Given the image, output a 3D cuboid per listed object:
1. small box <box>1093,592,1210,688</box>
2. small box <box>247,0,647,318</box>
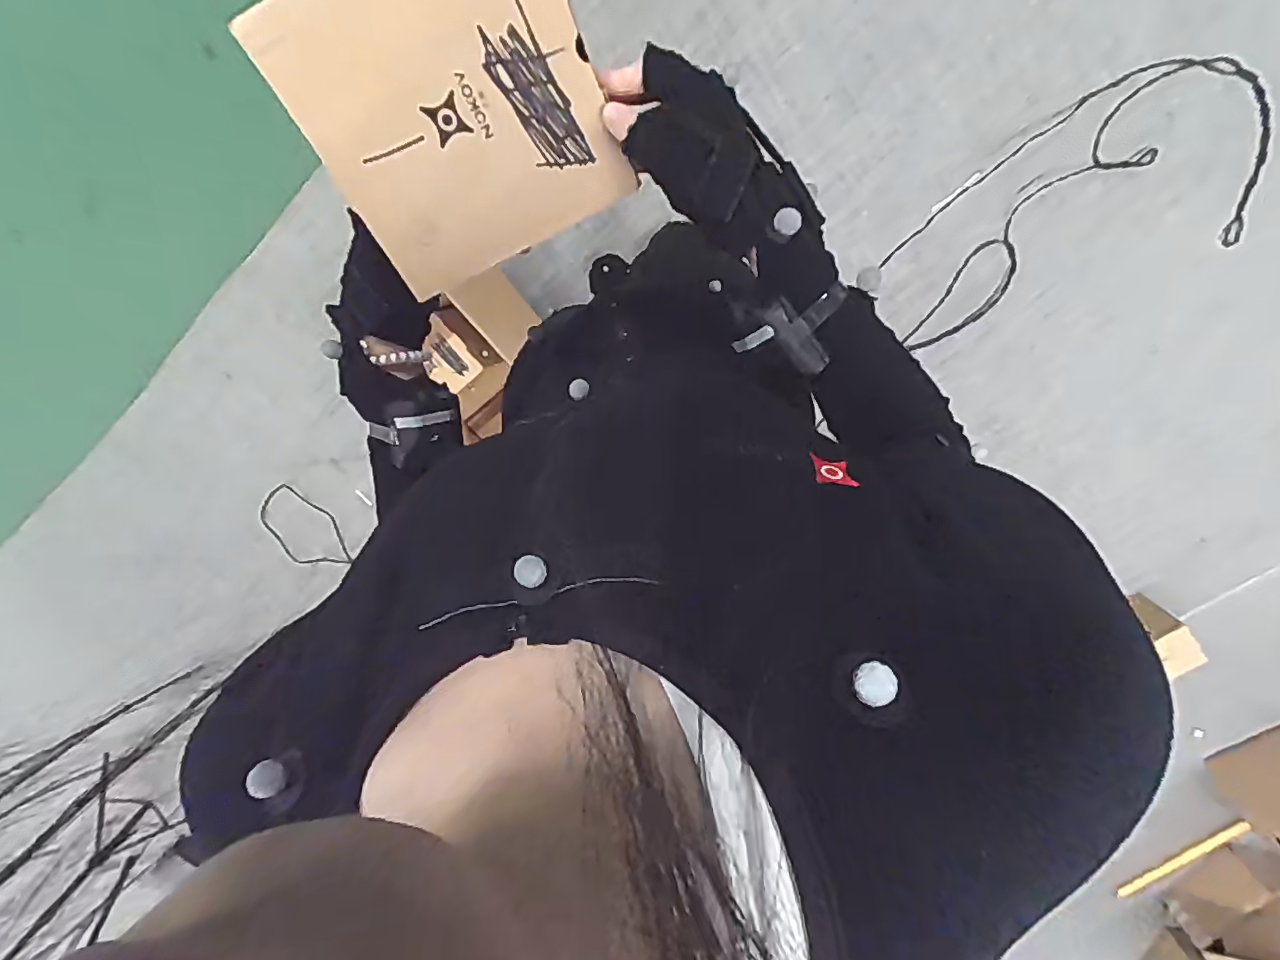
[{"bbox_3d":[1.513,0.474,1.618,0.179,0.176,0.168,-39,106,16],"label":"small box"},{"bbox_3d":[-0.118,-0.251,0.388,0.179,0.176,0.168,-25,126,4],"label":"small box"}]
